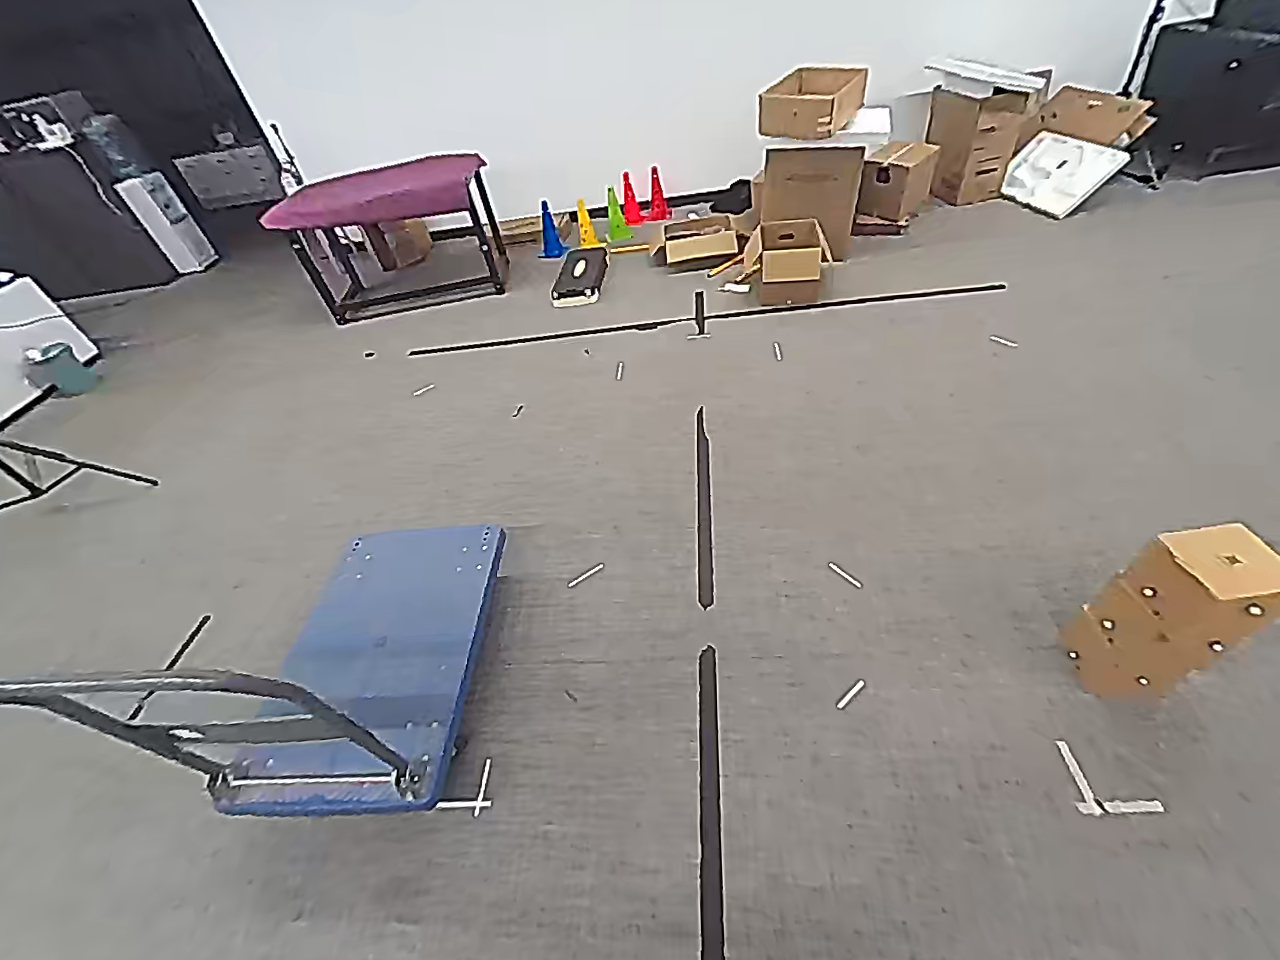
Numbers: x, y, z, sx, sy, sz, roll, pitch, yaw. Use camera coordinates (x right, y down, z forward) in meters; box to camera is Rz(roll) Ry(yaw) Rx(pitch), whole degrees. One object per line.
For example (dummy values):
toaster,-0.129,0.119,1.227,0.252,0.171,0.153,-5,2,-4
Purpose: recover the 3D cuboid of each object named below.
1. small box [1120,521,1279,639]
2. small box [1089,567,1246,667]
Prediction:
small box,1.179,0.211,1.131,0.179,0.176,0.168,-10,43,3
small box,1.203,0.318,1.252,0.179,0.176,0.168,-2,43,11
